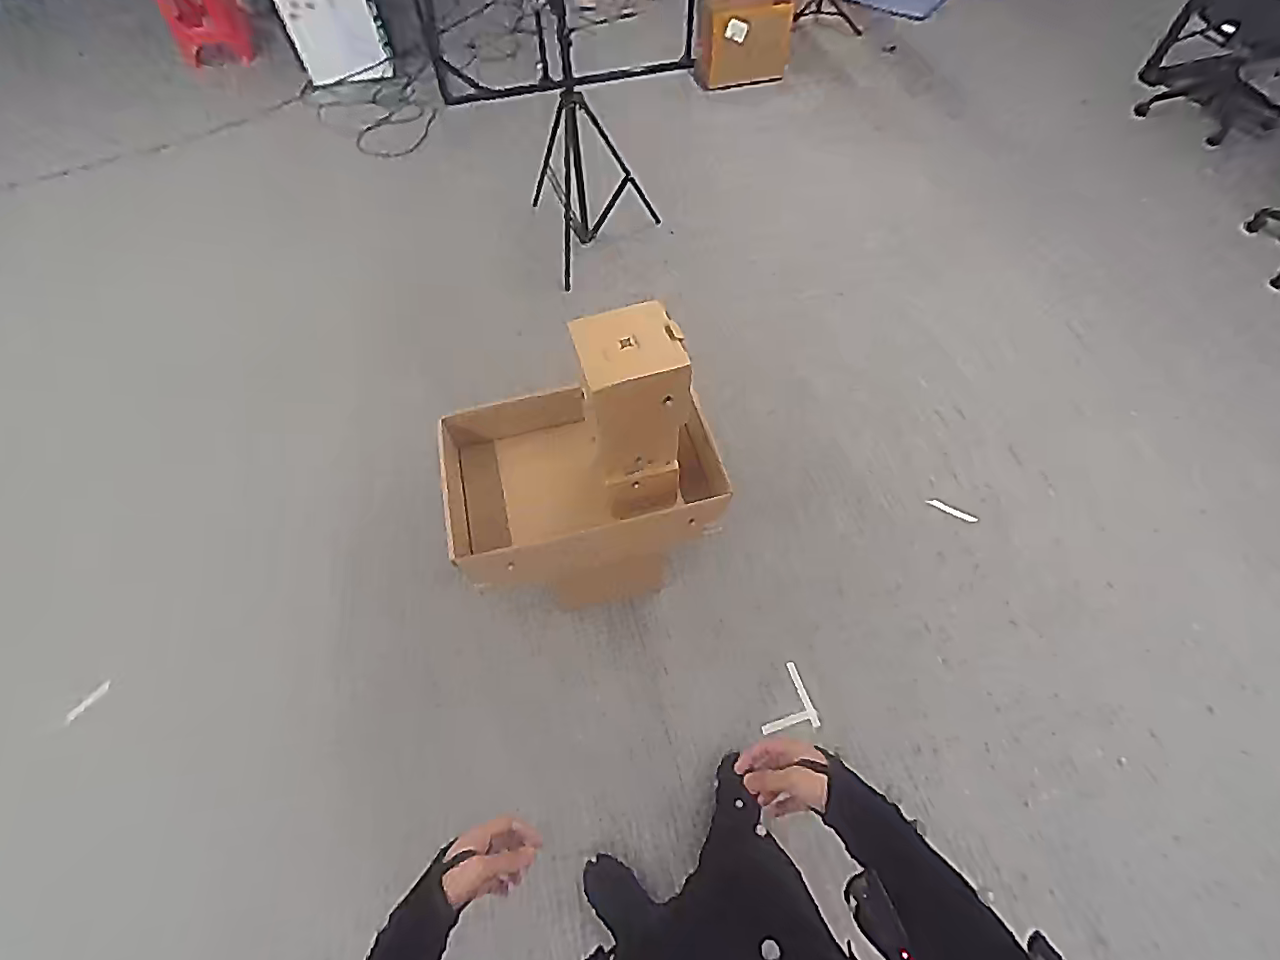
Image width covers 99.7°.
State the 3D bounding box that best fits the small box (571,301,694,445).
[{"bbox_3d":[-0.016,-0.189,0.980,0.179,0.176,0.168,-16,61,-8],"label":"small box"}]
